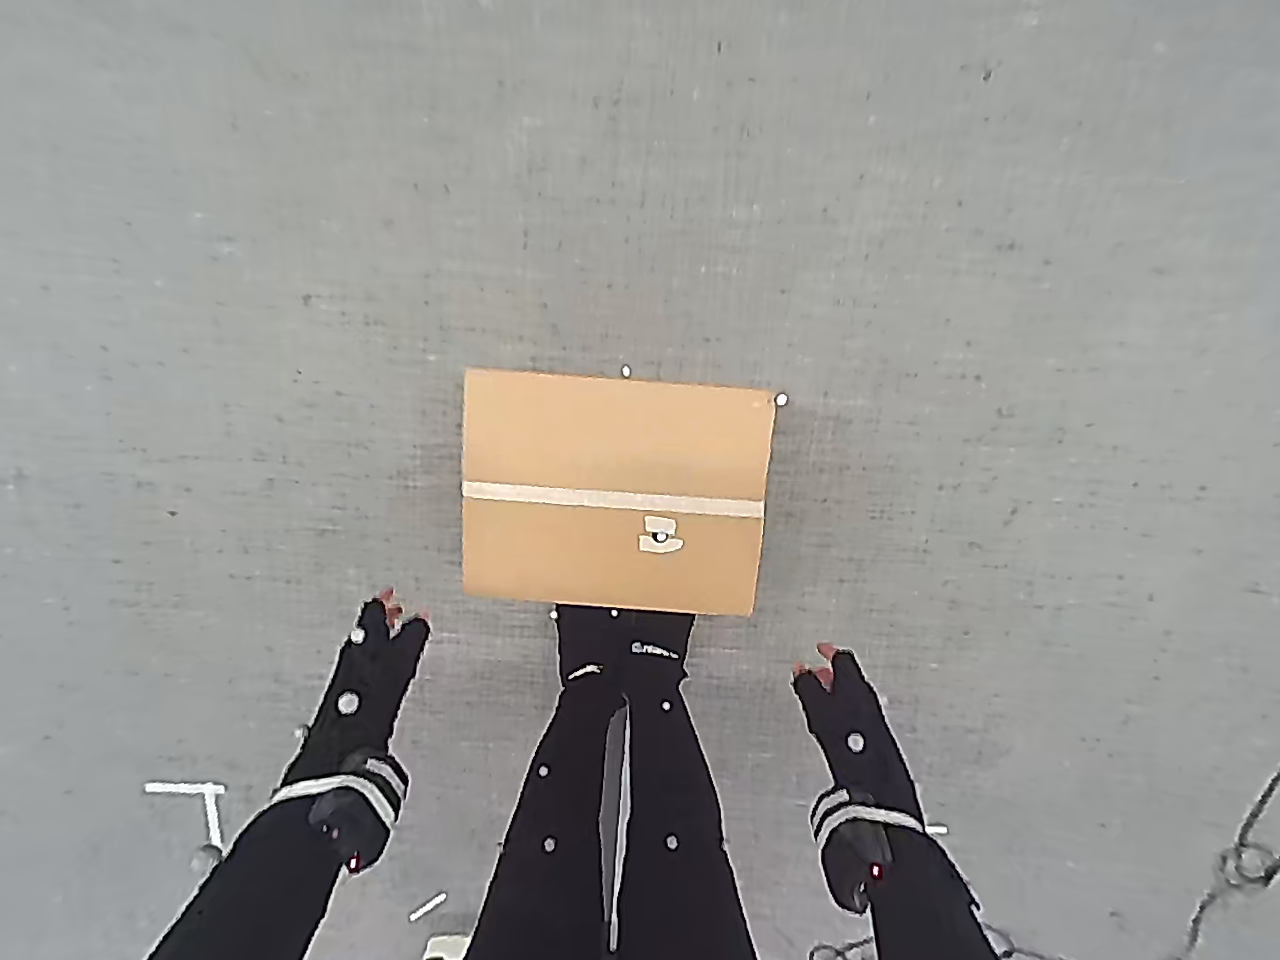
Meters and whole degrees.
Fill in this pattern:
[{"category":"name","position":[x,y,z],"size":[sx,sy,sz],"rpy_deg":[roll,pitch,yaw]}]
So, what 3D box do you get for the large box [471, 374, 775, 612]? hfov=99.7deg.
[{"category":"large box","position":[-0.030,0.000,0.875],"size":[0.408,0.320,0.320],"rpy_deg":[4,101,0]}]
